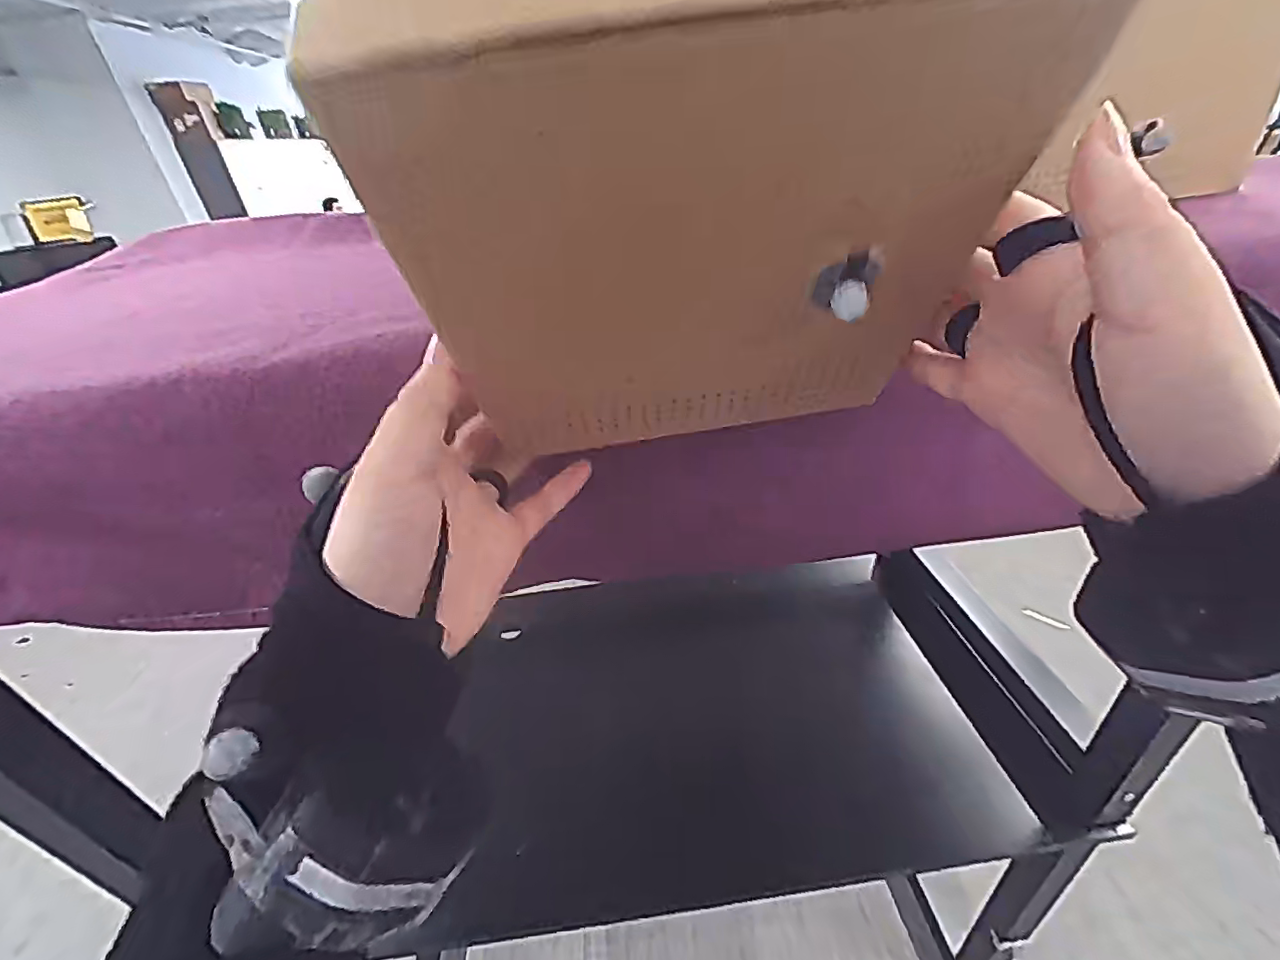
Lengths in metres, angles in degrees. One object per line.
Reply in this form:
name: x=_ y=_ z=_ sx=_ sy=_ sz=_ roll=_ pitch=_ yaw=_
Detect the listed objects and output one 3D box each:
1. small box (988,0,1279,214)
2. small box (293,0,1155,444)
small box: x=0.328 y=-0.311 z=0.409 sx=0.179 sy=0.176 sz=0.168 roll=-7 pitch=31 yaw=0
small box: x=0.011 y=-0.130 z=0.206 sx=0.179 sy=0.176 sz=0.168 roll=-10 pitch=68 yaw=-2
